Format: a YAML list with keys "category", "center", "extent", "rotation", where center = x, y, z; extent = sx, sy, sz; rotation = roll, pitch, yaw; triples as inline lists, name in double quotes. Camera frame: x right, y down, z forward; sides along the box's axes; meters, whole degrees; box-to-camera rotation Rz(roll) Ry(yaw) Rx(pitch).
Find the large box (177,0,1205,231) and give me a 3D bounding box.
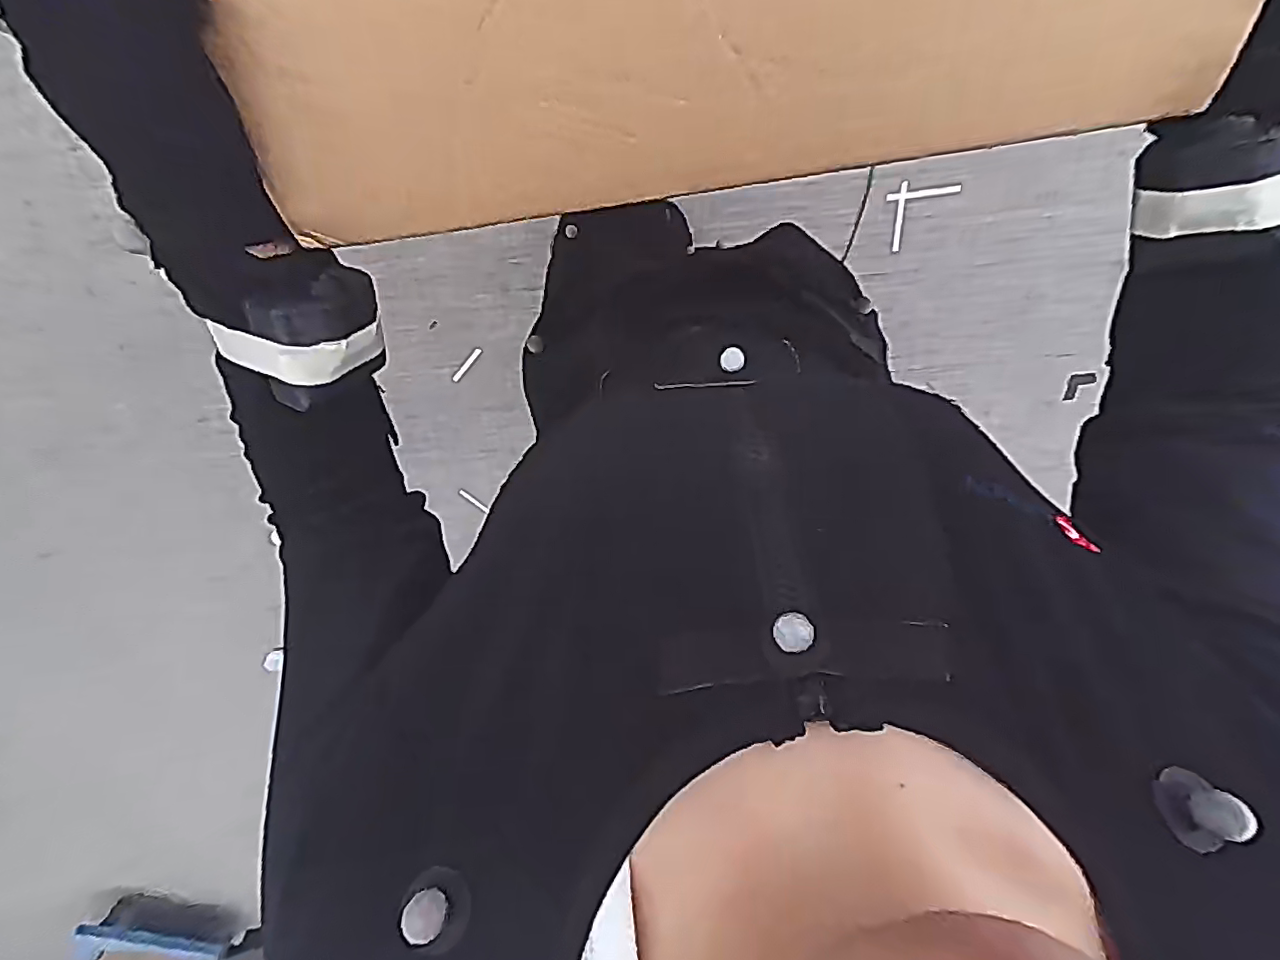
- category: "large box"
  center: [0.010, -0.357, 0.241]
  extent: [0.408, 0.320, 0.320]
  rotation: [-7, 136, 2]
